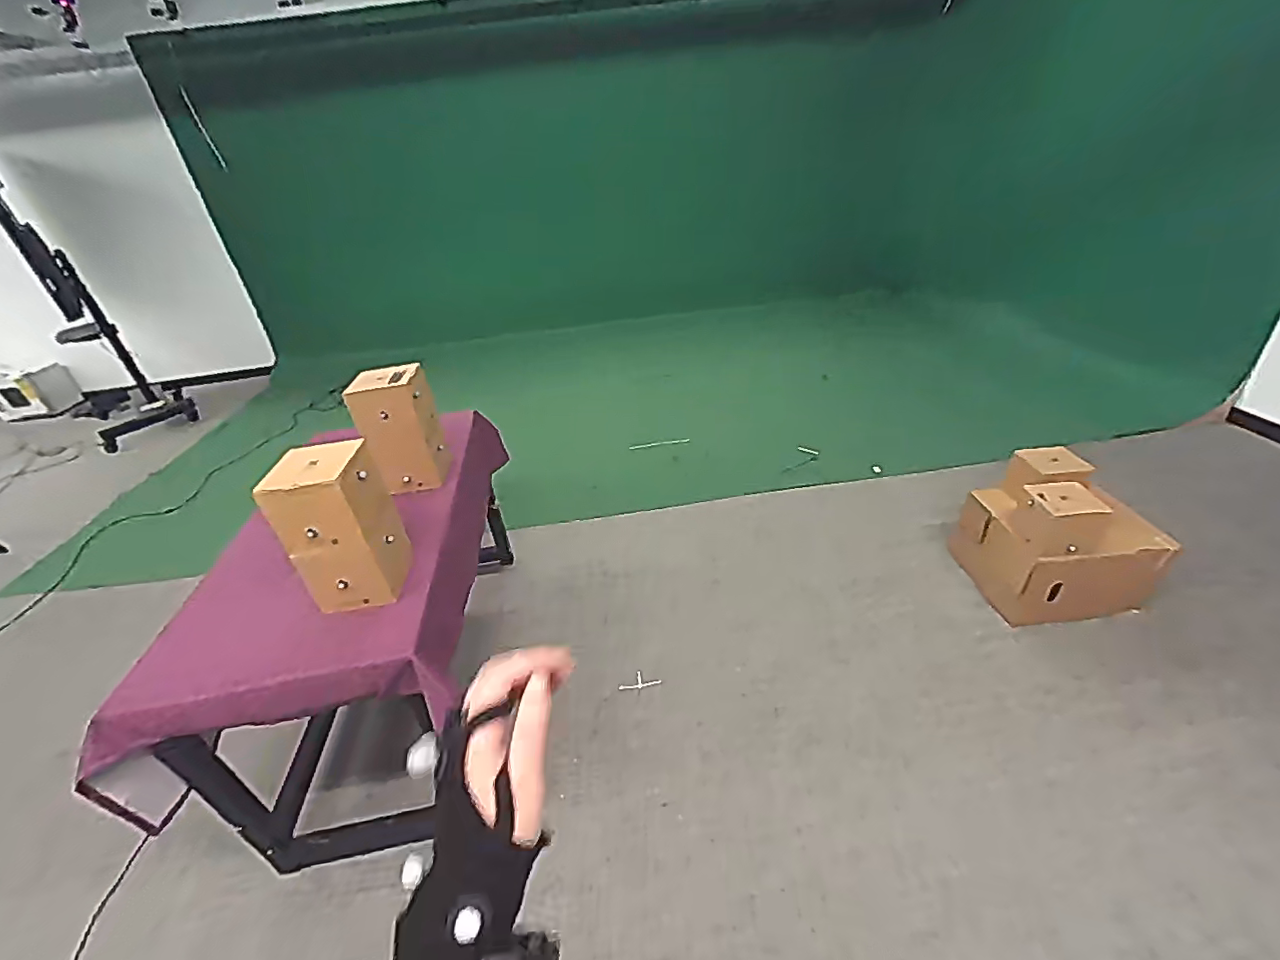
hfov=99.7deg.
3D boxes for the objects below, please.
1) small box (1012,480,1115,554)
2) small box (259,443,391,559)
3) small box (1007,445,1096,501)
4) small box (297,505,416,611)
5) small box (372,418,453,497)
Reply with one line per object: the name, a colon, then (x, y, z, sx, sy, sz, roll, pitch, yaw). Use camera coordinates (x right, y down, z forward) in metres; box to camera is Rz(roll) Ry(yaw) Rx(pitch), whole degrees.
small box: (1.327, 0.119, 1.710, 0.179, 0.176, 0.168, -4, 32, 3)
small box: (-0.658, 0.044, 1.160, 0.168, 0.176, 0.179, -9, 33, -1)
small box: (1.428, -0.005, 1.896, 0.179, 0.176, 0.168, -5, 32, 0)
small box: (-0.637, 0.183, 1.243, 0.168, 0.176, 0.179, -8, 32, -1)
small box: (-0.686, -0.069, 1.656, 0.168, 0.176, 0.179, -9, 33, -1)
